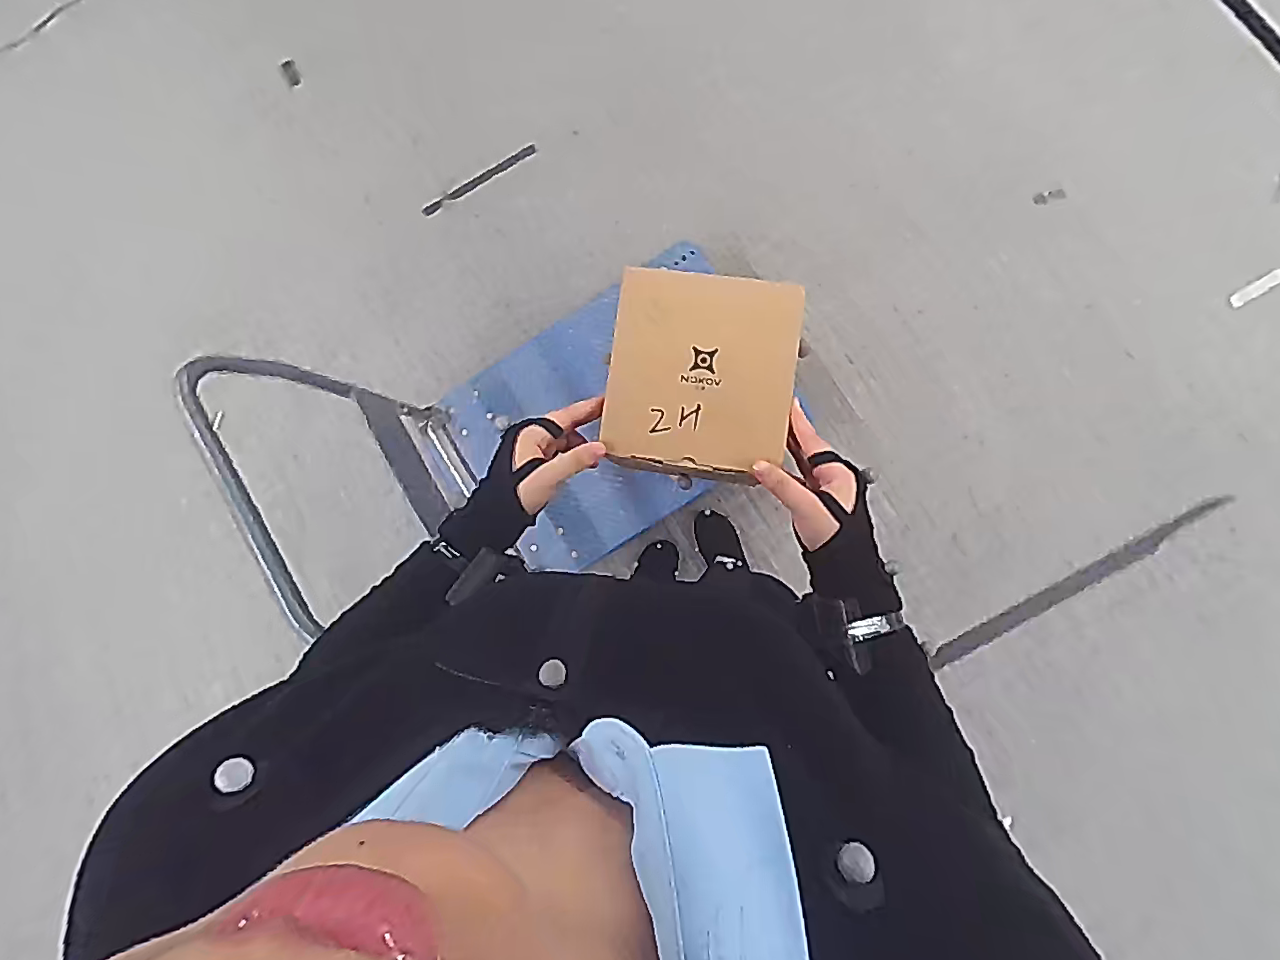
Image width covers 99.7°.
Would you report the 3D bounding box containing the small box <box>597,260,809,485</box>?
[{"bbox_3d":[0.060,-0.095,0.552,0.168,0.176,0.179,9,88,5],"label":"small box"}]
